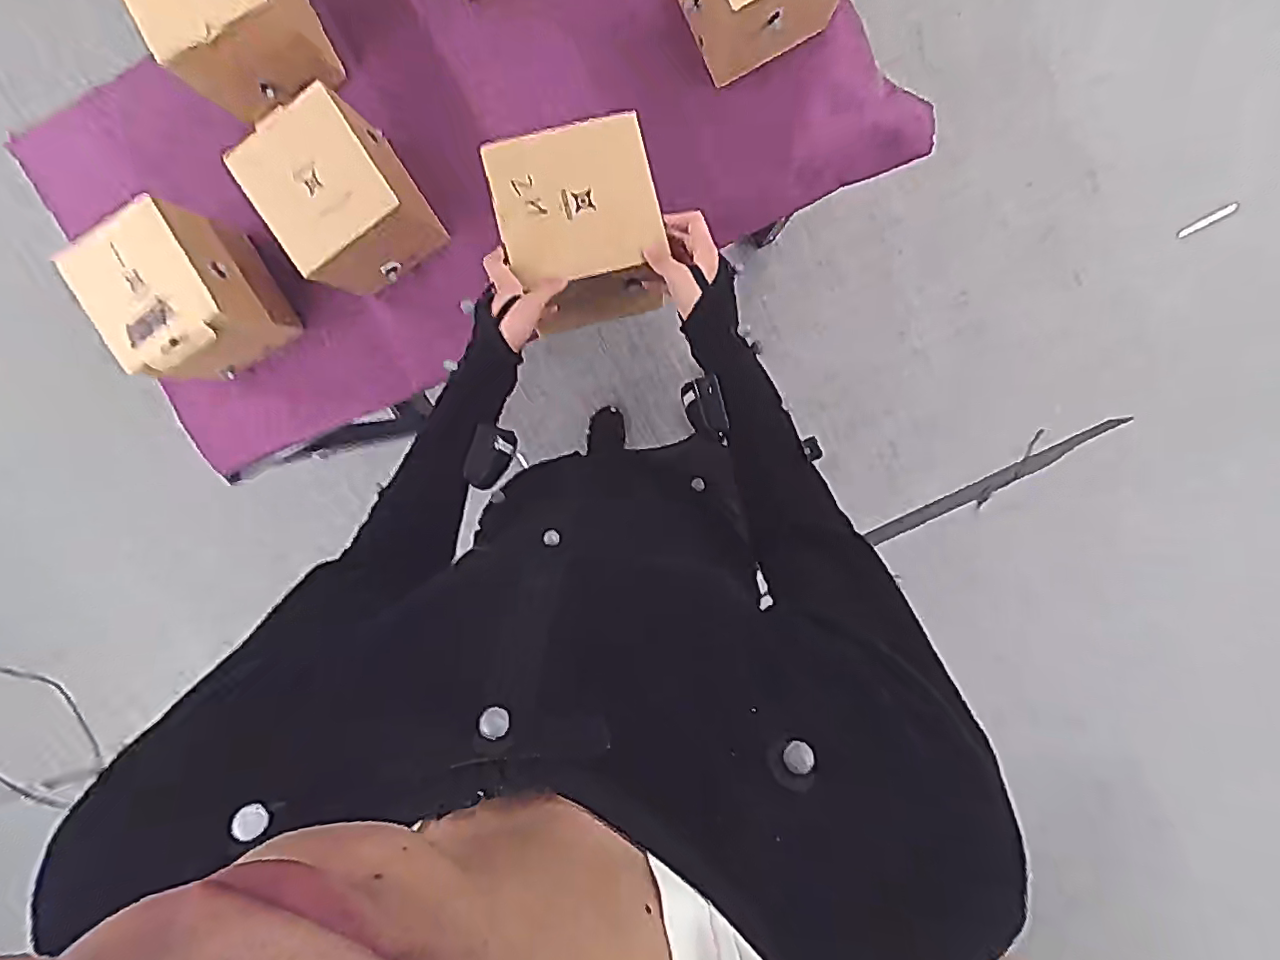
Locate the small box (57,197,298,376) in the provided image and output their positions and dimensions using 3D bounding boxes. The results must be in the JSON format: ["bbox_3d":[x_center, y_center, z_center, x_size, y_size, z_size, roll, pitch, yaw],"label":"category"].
[{"bbox_3d":[-0.657,-0.267,0.795,0.168,0.176,0.179,-29,96,6],"label":"small box"}]

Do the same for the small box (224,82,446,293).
[{"bbox_3d":[-0.415,-0.394,0.767,0.168,0.176,0.179,-32,96,8],"label":"small box"}]

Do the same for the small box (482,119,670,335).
[{"bbox_3d":[-0.071,-0.293,0.662,0.179,0.176,0.168,-13,89,-1],"label":"small box"}]

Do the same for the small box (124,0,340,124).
[{"bbox_3d":[-0.556,-0.636,0.729,0.168,0.176,0.179,-25,98,5],"label":"small box"}]

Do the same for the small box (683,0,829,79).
[{"bbox_3d":[0.148,-0.674,0.697,0.179,0.176,0.168,-26,98,8],"label":"small box"}]
